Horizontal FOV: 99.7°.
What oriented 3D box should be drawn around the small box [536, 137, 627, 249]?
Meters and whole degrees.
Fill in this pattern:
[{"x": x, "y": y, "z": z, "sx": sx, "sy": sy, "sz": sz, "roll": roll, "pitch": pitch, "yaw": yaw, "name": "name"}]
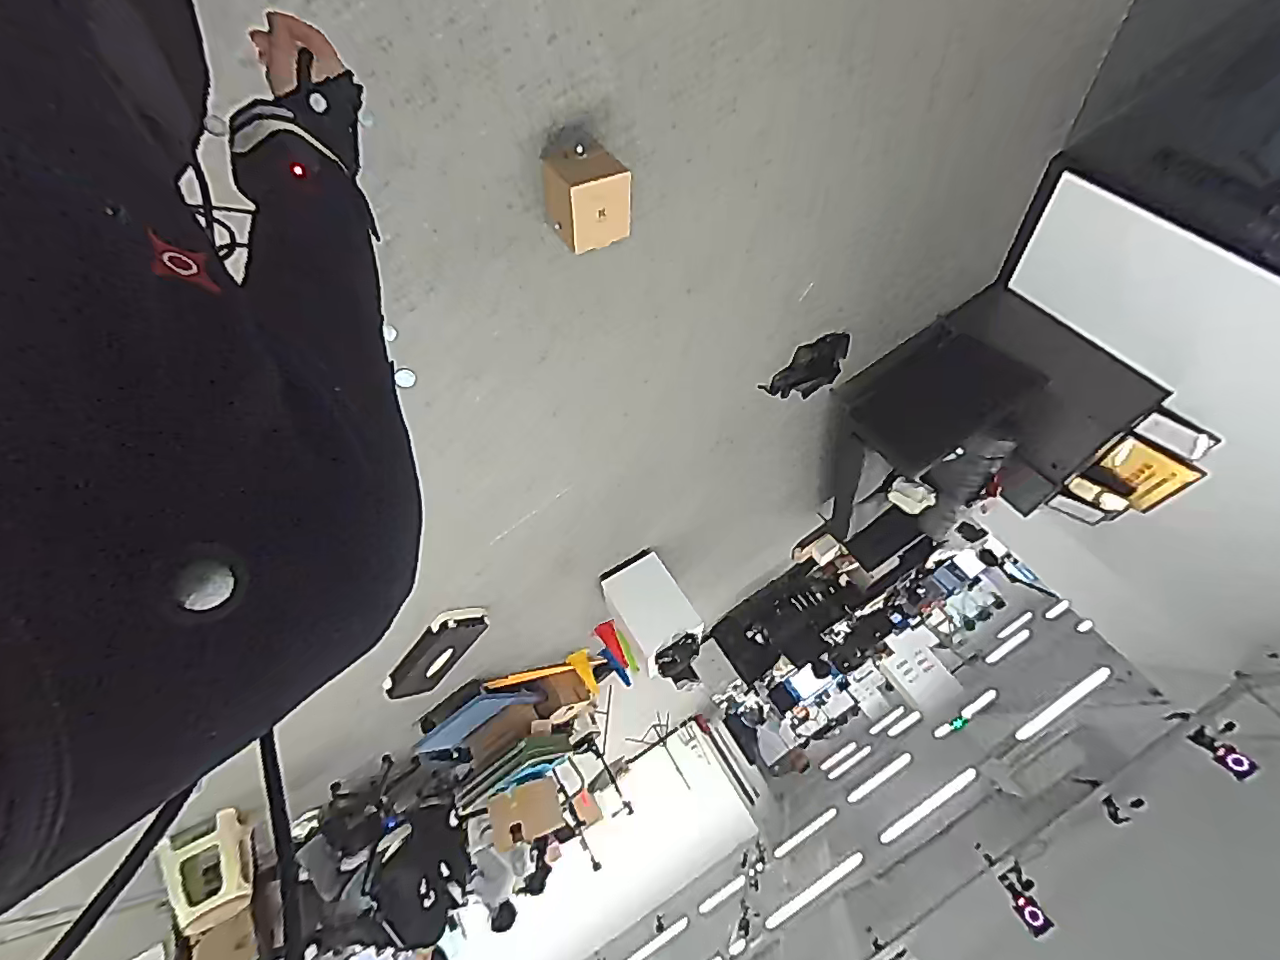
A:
[{"x": -0.146, "y": -0.726, "z": 1.365, "sx": 0.168, "sy": 0.176, "sz": 0.179, "roll": -27, "pitch": 151, "yaw": -18, "name": "small box"}]
